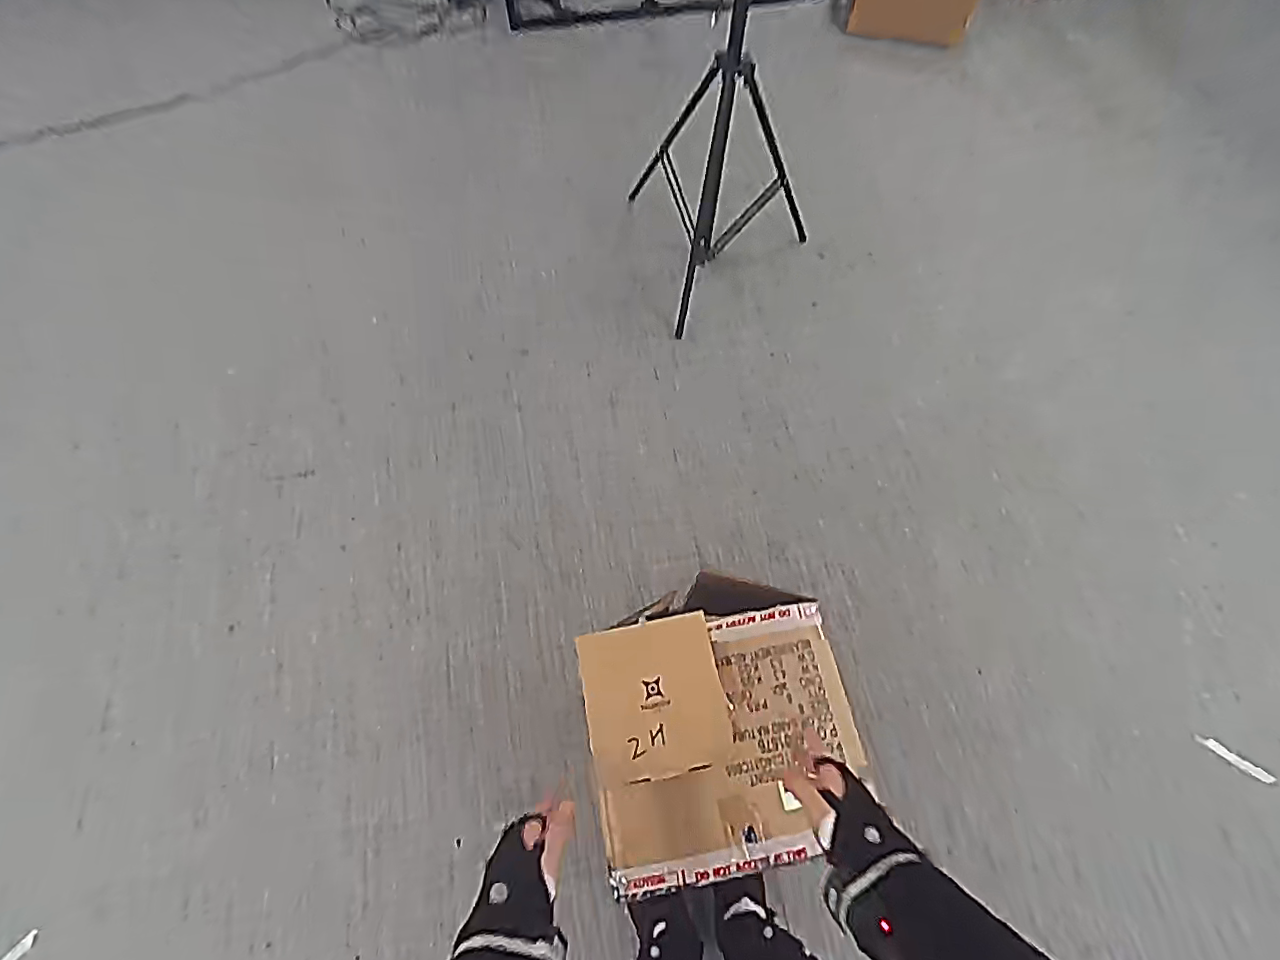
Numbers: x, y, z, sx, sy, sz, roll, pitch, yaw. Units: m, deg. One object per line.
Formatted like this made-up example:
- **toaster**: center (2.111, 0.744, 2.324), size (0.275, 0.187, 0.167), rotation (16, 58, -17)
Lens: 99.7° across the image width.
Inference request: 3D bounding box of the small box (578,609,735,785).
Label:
- **small box**: center (0.016, 0.285, 0.727), size (0.168, 0.176, 0.179), rotation (-11, 71, -3)
